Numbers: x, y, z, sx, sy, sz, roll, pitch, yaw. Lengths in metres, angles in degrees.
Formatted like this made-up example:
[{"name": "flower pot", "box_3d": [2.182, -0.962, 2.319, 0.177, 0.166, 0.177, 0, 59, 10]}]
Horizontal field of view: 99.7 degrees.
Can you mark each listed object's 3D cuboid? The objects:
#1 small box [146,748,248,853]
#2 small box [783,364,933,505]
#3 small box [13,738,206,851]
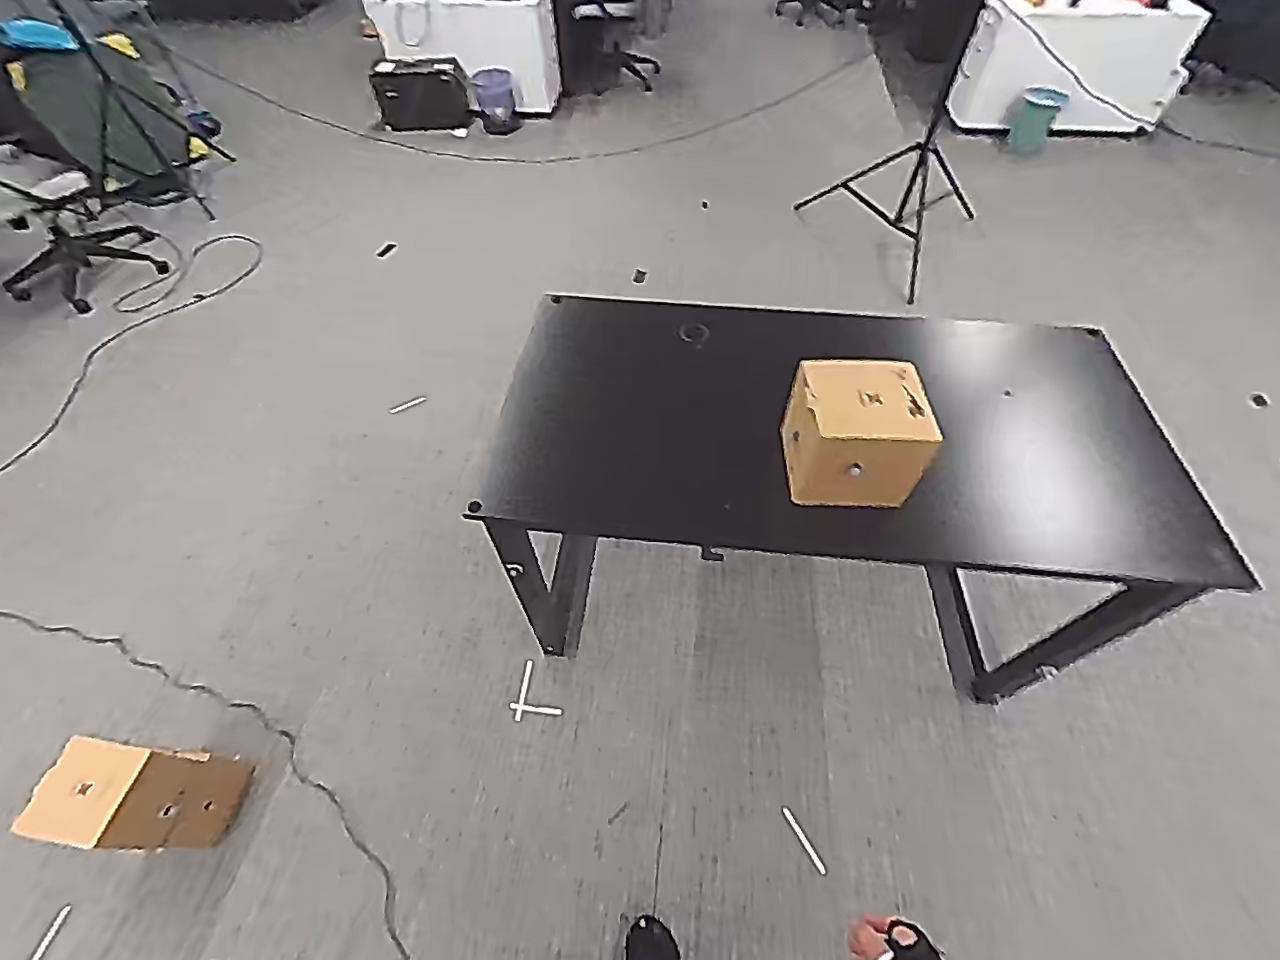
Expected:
[{"name": "small box", "box_3d": [-1.035, 0.724, 1.217, 0.168, 0.176, 0.179, 5, 55, 4]}, {"name": "small box", "box_3d": [0.336, -0.071, 0.880, 0.179, 0.176, 0.168, 1, 53, 2]}, {"name": "small box", "box_3d": [-1.042, 0.632, 1.082, 0.179, 0.176, 0.168, 7, 56, 5]}]
